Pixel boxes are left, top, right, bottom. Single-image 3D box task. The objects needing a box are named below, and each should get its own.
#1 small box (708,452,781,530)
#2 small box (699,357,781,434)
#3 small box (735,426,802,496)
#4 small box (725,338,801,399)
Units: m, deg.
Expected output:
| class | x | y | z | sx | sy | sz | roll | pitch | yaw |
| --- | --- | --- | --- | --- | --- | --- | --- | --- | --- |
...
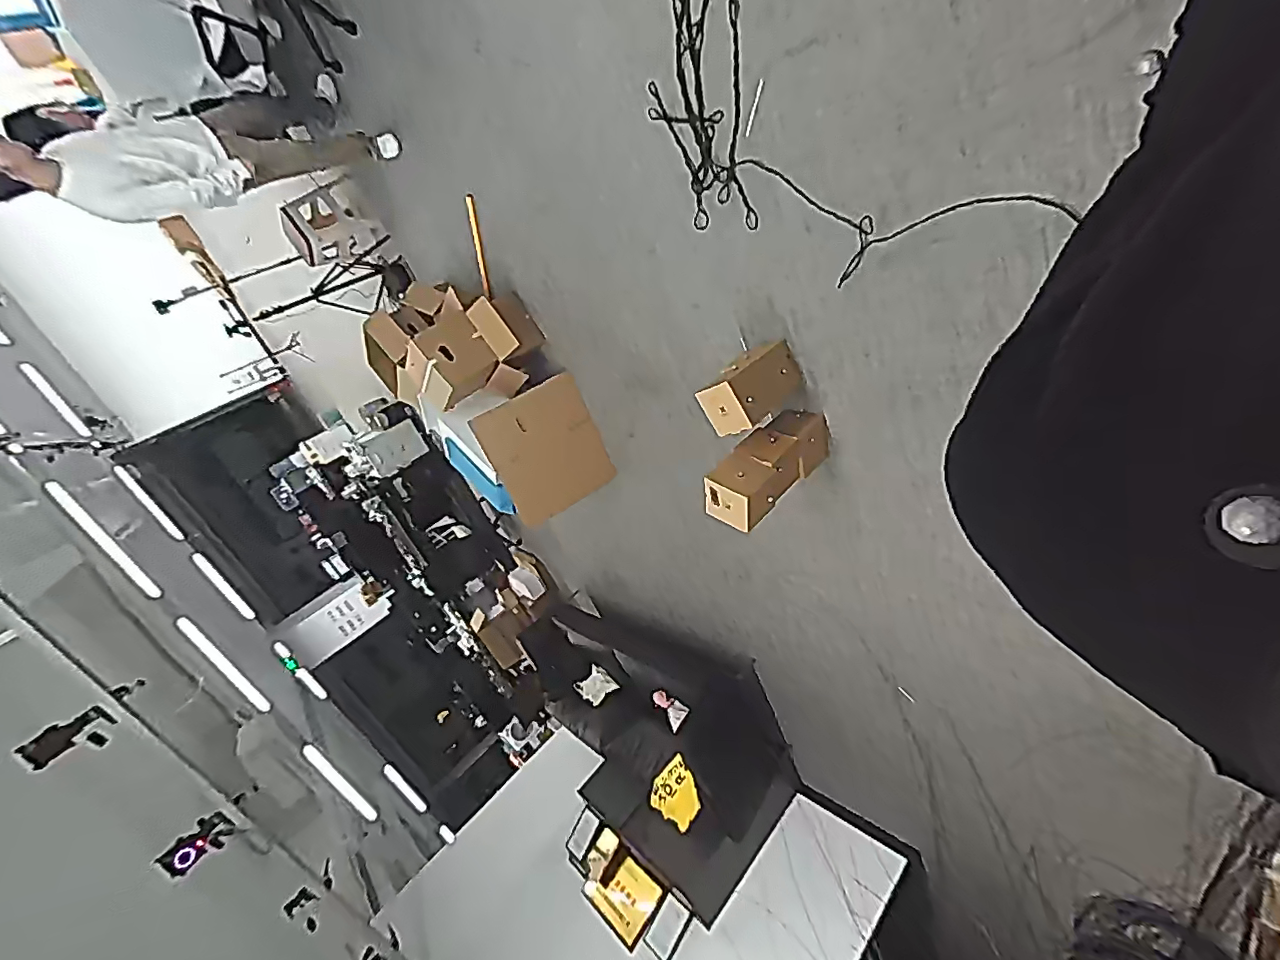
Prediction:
| class | x | y | z | sx | sy | sz | roll | pitch | yaw |
| --- | --- | --- | --- | --- | --- | --- | --- | --- | --- |
| small box | 0.346 | 0.030 | 1.800 | 0.179 | 0.176 | 0.168 | 27 | 143 | 36 |
| small box | 0.336 | -0.279 | 1.797 | 0.168 | 0.176 | 0.179 | -12 | 114 | 57 |
| small box | 0.453 | -0.062 | 1.886 | 0.168 | 0.176 | 0.179 | 24 | 140 | 40 |
| small box | 0.436 | -0.375 | 1.884 | 0.179 | 0.176 | 0.168 | -4 | 120 | 56 |
